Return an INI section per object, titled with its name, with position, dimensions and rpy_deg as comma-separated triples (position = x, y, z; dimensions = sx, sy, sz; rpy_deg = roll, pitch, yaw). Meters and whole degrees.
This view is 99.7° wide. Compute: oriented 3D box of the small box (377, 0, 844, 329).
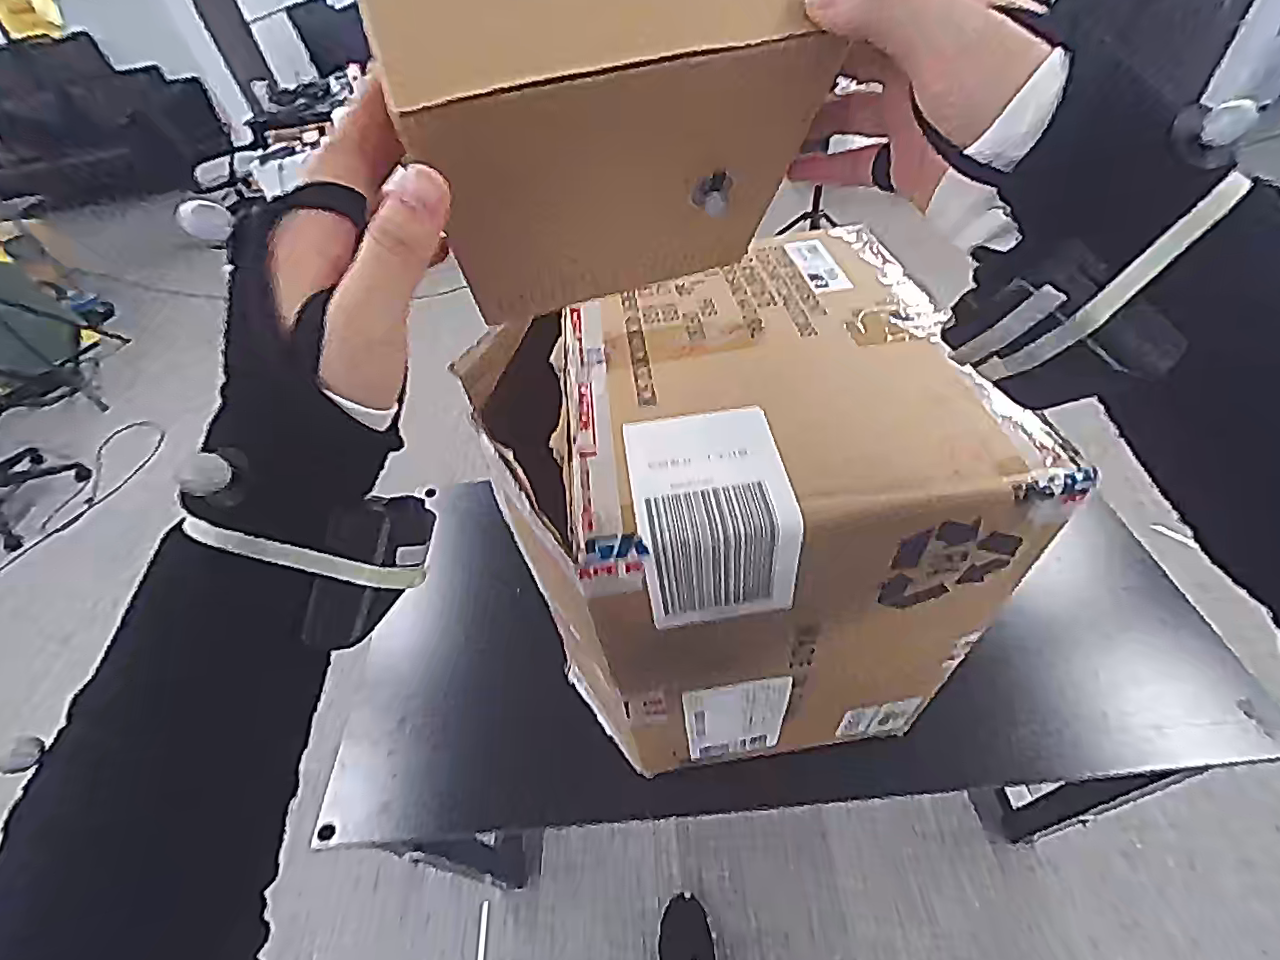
[small box]
position = -0.029, -0.209, 0.295
dimensions = 0.179, 0.176, 0.168
rpy_deg = -18, 81, -7
